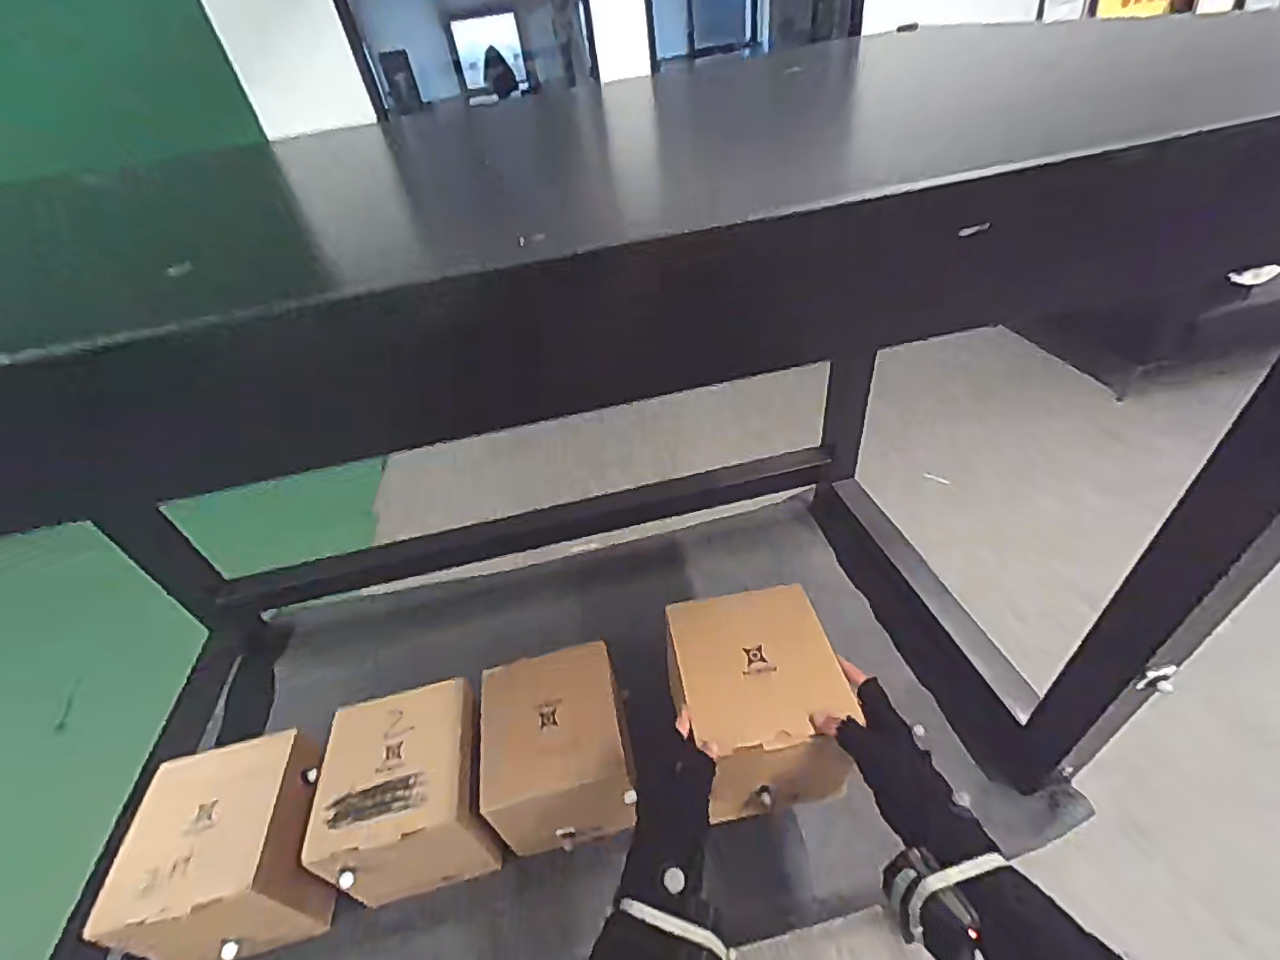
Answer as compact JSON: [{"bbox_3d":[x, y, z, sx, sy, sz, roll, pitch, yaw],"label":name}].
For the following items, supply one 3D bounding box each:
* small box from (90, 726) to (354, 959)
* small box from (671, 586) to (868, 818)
[{"bbox_3d":[-0.475,0.439,0.656,0.168,0.176,0.179,-13,39,-5],"label":"small box"},{"bbox_3d":[0.130,0.251,0.621,0.168,0.176,0.179,-8,40,-4],"label":"small box"}]
